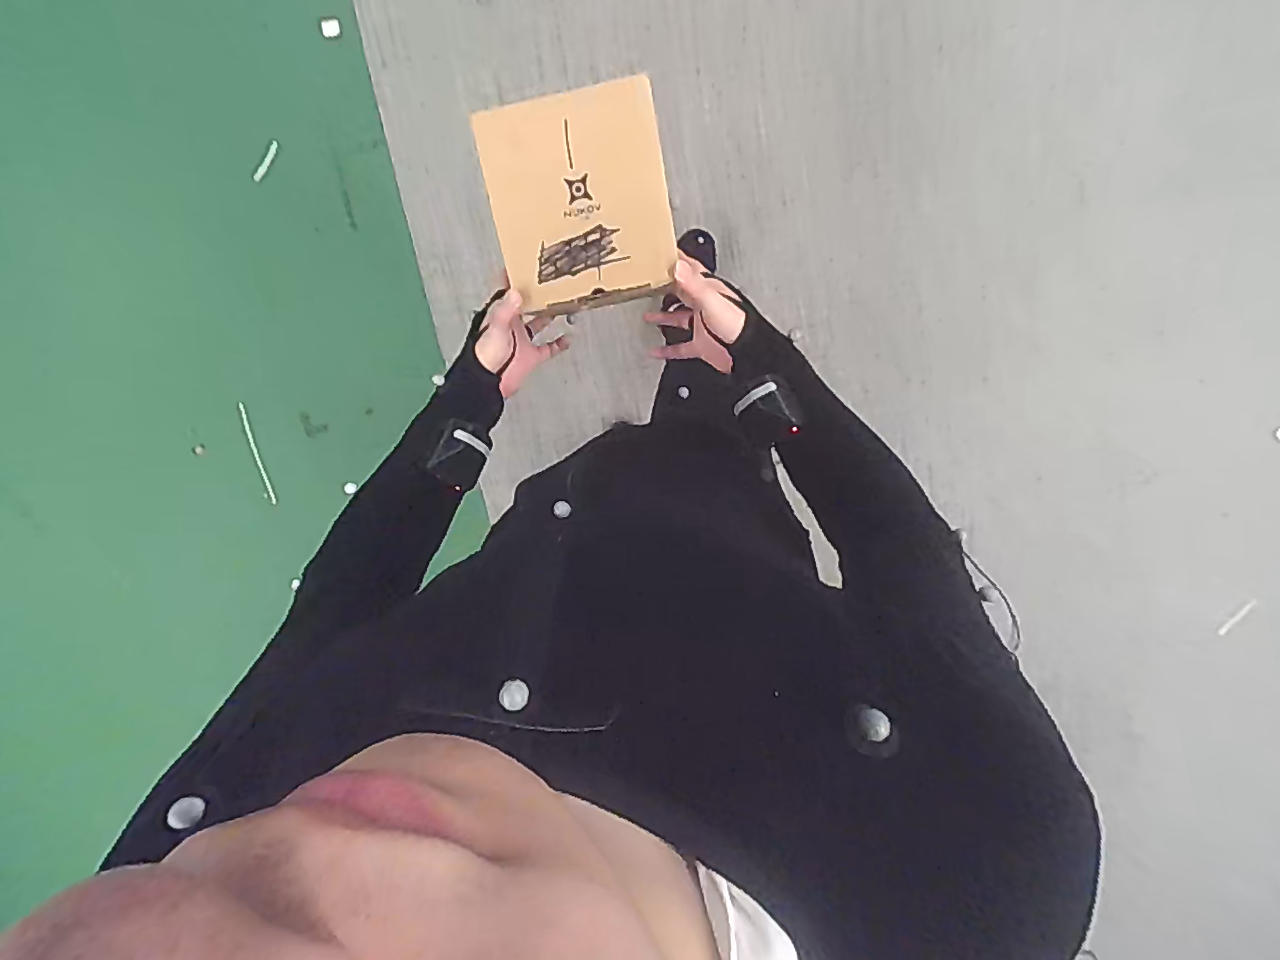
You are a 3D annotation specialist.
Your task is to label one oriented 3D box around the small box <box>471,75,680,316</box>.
[{"bbox_3d":[-0.053,-0.274,0.567,0.168,0.176,0.179,-10,104,3],"label":"small box"}]
